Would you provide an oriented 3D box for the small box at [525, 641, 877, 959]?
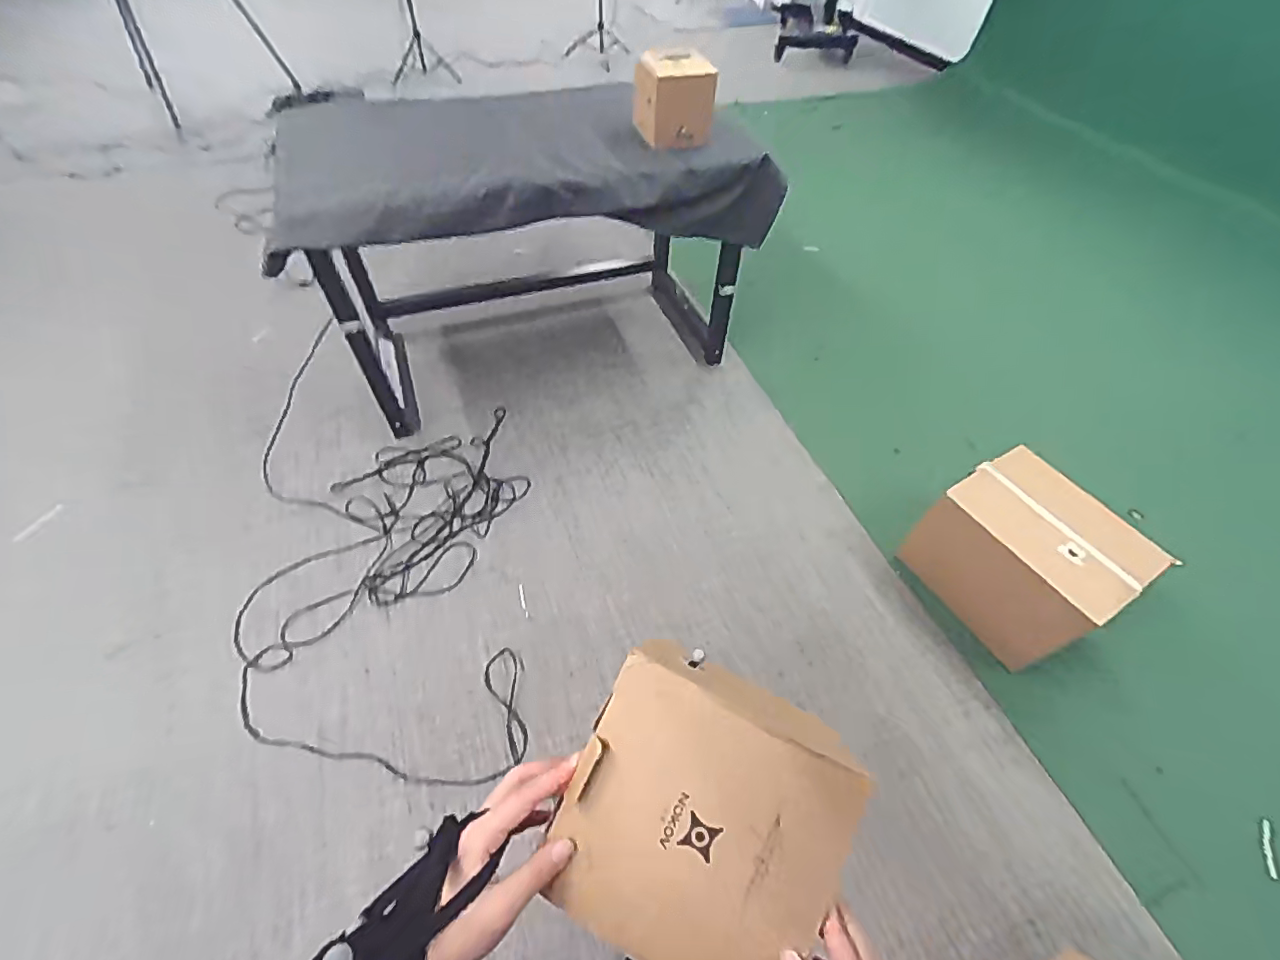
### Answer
[{"bbox_3d":[0.046,0.237,0.416,0.179,0.176,0.168,23,82,12],"label":"small box"}]
